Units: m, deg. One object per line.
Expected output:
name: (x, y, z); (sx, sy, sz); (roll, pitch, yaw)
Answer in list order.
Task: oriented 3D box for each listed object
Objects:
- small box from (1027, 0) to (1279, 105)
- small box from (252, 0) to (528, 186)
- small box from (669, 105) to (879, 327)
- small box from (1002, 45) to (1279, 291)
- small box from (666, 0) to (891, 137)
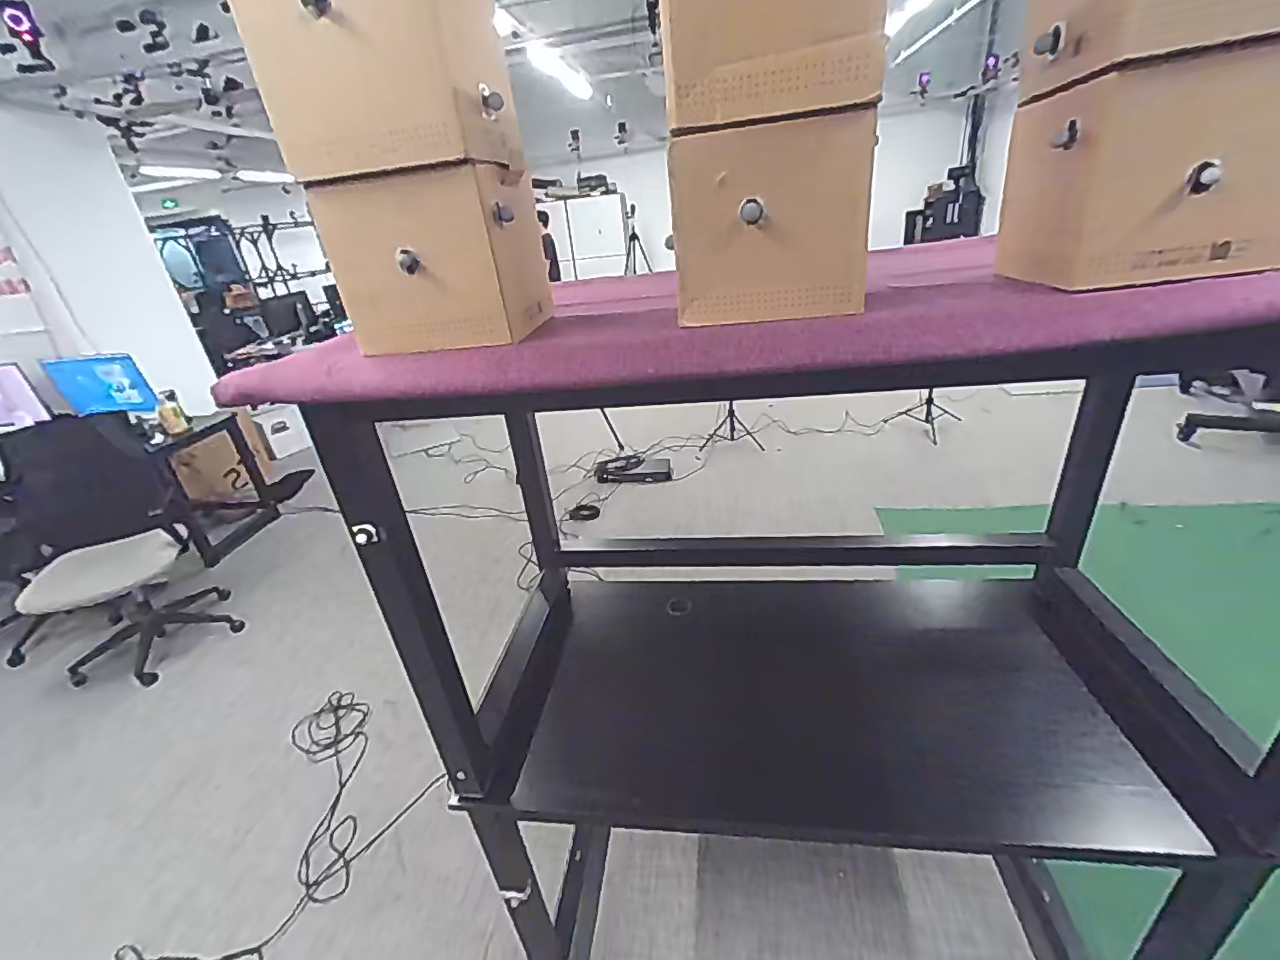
small box: (0.444, -0.416, 0.423); (0.179, 0.176, 0.168); (-4, 23, 12)
small box: (-0.227, -0.386, 0.521); (0.179, 0.176, 0.168); (-1, 27, 9)
small box: (0.133, -0.259, 0.556); (0.179, 0.176, 0.168); (-2, 27, 11)
small box: (0.469, -0.276, 0.503); (0.168, 0.176, 0.179); (-2, 25, 12)
small box: (0.119, -0.403, 0.479); (0.179, 0.176, 0.168); (1, 27, 13)
